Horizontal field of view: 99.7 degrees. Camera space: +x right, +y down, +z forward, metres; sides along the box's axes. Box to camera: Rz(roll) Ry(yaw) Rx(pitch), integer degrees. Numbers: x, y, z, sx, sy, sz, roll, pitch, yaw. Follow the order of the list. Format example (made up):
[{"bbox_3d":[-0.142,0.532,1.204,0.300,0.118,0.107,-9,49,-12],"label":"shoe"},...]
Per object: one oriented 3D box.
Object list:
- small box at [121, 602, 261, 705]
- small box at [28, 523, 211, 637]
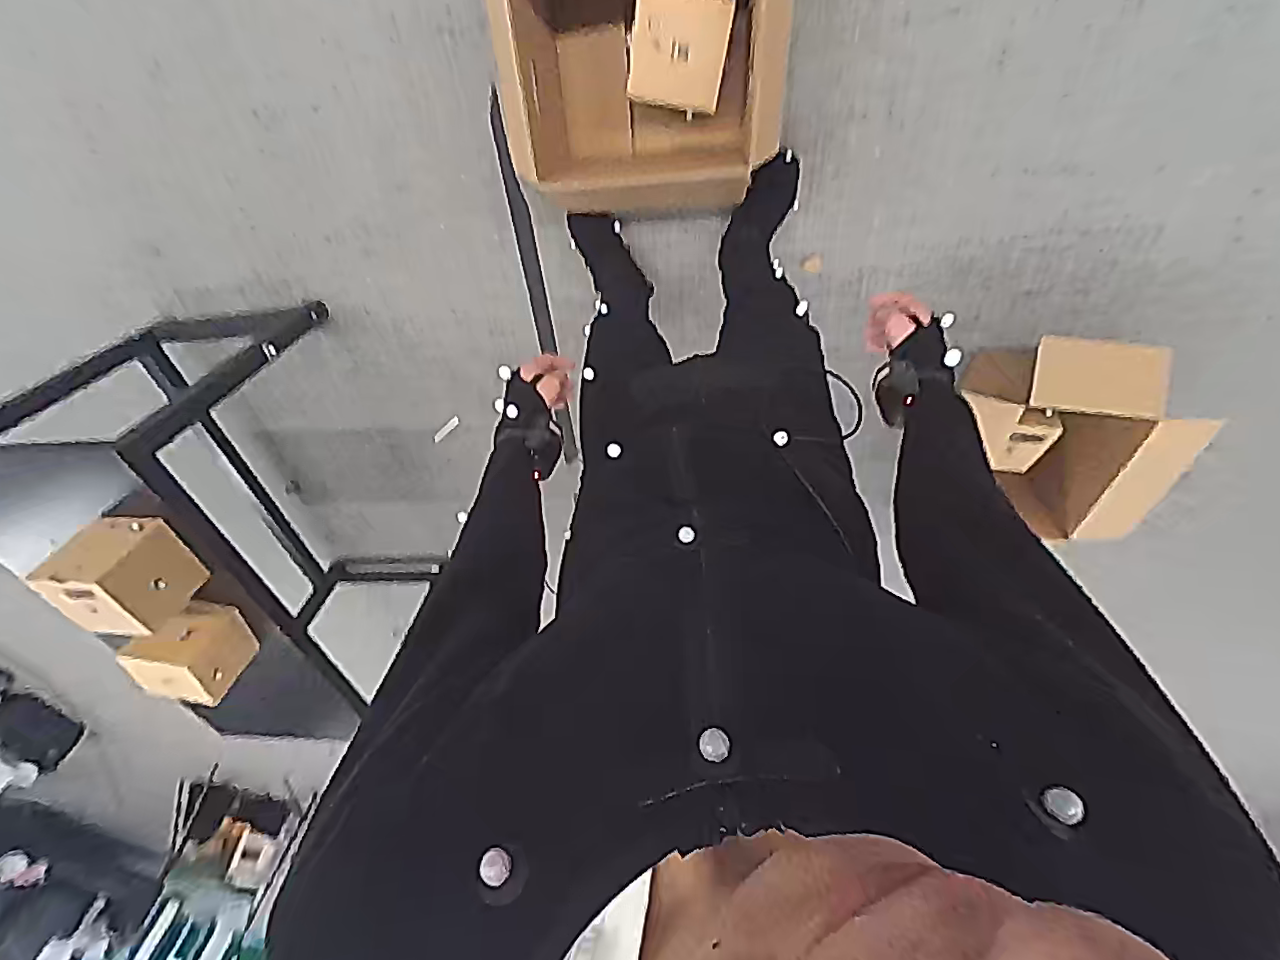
[{"bbox_3d":[-1.073,0.416,1.312,0.168,0.176,0.179,9,132,0],"label":"small box"},{"bbox_3d":[-1.066,0.205,1.127,0.168,0.176,0.179,1,132,8],"label":"small box"}]
